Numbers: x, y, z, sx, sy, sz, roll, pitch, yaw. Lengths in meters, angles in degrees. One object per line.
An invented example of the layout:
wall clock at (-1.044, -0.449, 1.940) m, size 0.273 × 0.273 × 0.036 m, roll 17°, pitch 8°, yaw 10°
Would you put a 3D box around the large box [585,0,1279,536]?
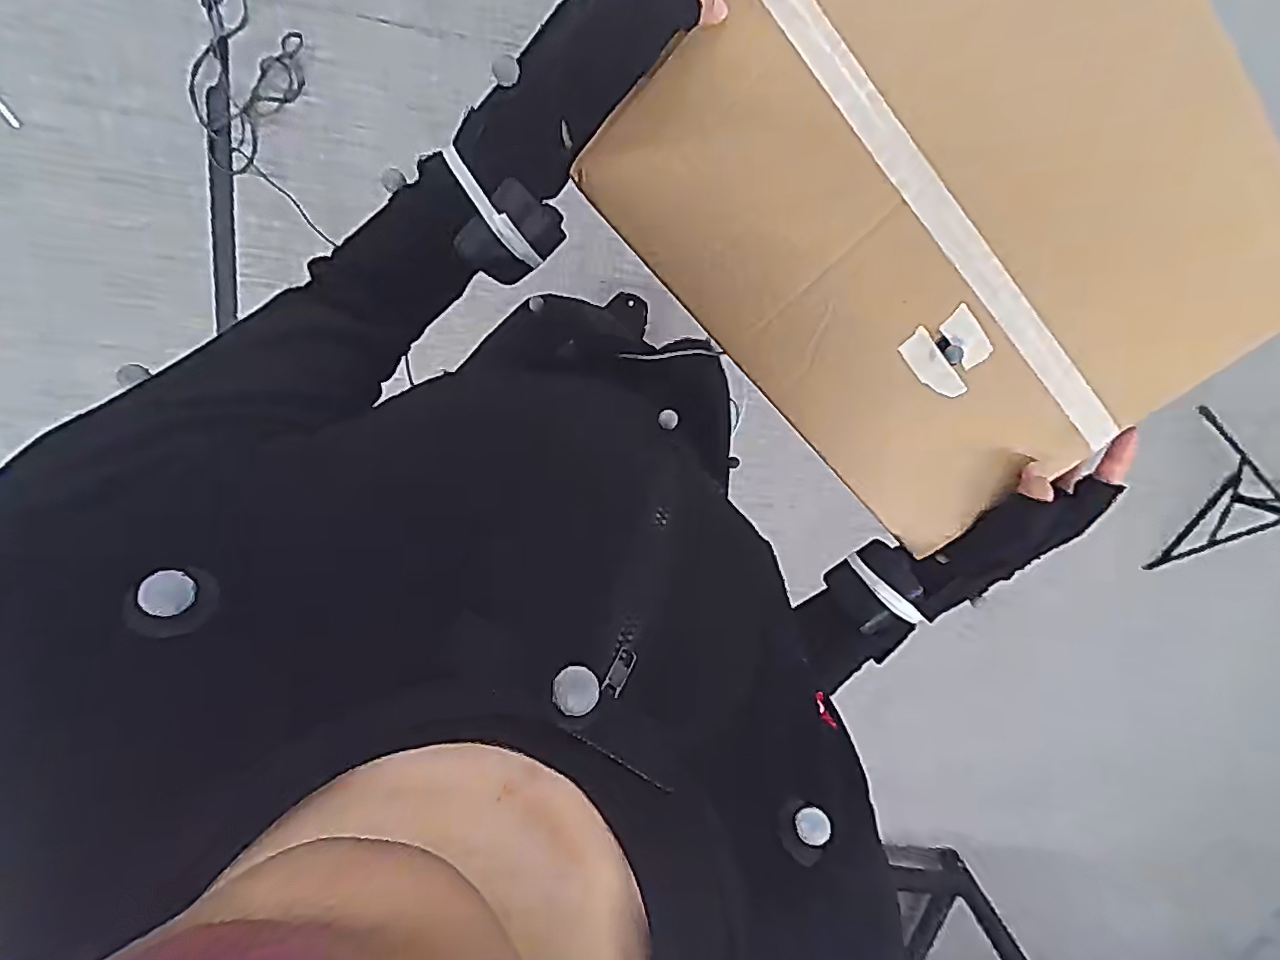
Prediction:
large box at (0.215, -0.236, 0.497) m, size 0.320 × 0.320 × 0.408 m, roll -40°, pitch 106°, yaw 22°
